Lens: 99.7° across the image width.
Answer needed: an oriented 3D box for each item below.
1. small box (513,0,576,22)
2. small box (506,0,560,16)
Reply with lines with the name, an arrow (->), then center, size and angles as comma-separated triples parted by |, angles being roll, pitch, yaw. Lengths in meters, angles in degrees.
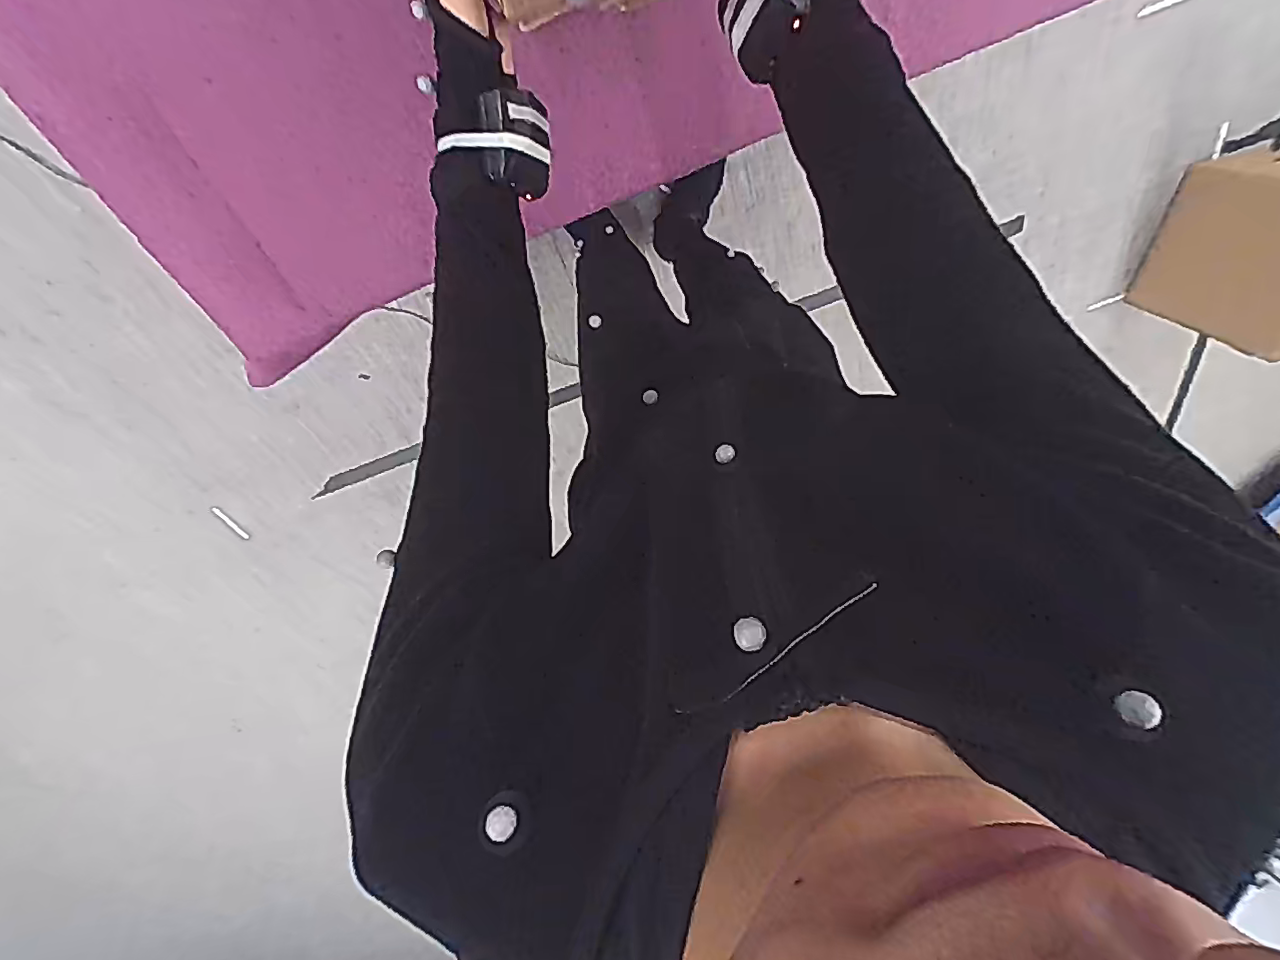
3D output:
small box -> -0.062, -0.503, 0.428 | 0.168, 0.176, 0.179 | -24, 128, 5
small box -> -0.041, -0.401, 0.300 | 0.168, 0.176, 0.179 | -22, 129, 4
